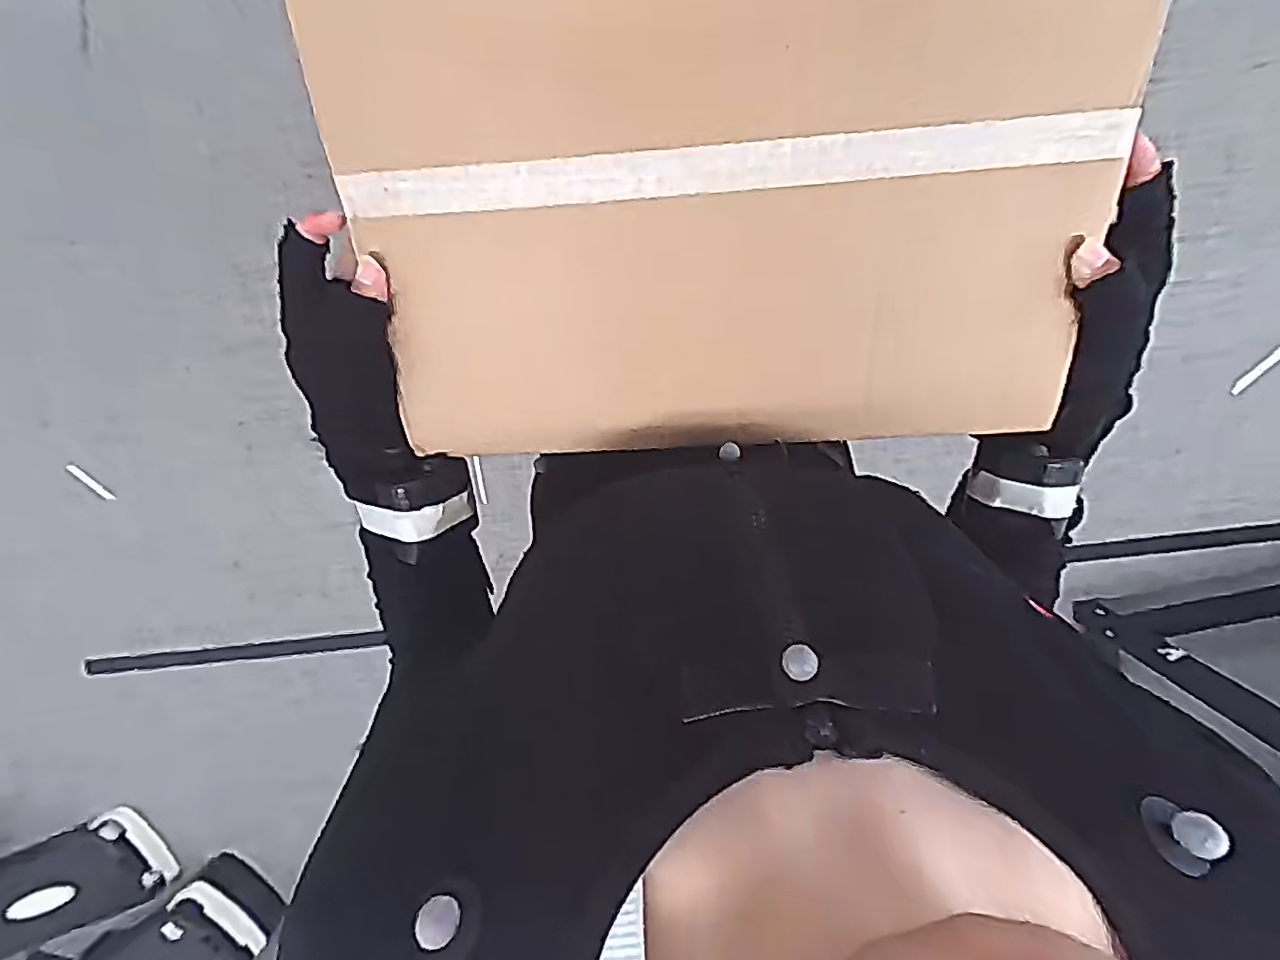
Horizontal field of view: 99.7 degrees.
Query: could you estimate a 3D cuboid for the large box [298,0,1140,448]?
[{"bbox_3d":[0.044,-0.236,0.419,0.408,0.320,0.320,-3,116,4],"label":"large box"}]
